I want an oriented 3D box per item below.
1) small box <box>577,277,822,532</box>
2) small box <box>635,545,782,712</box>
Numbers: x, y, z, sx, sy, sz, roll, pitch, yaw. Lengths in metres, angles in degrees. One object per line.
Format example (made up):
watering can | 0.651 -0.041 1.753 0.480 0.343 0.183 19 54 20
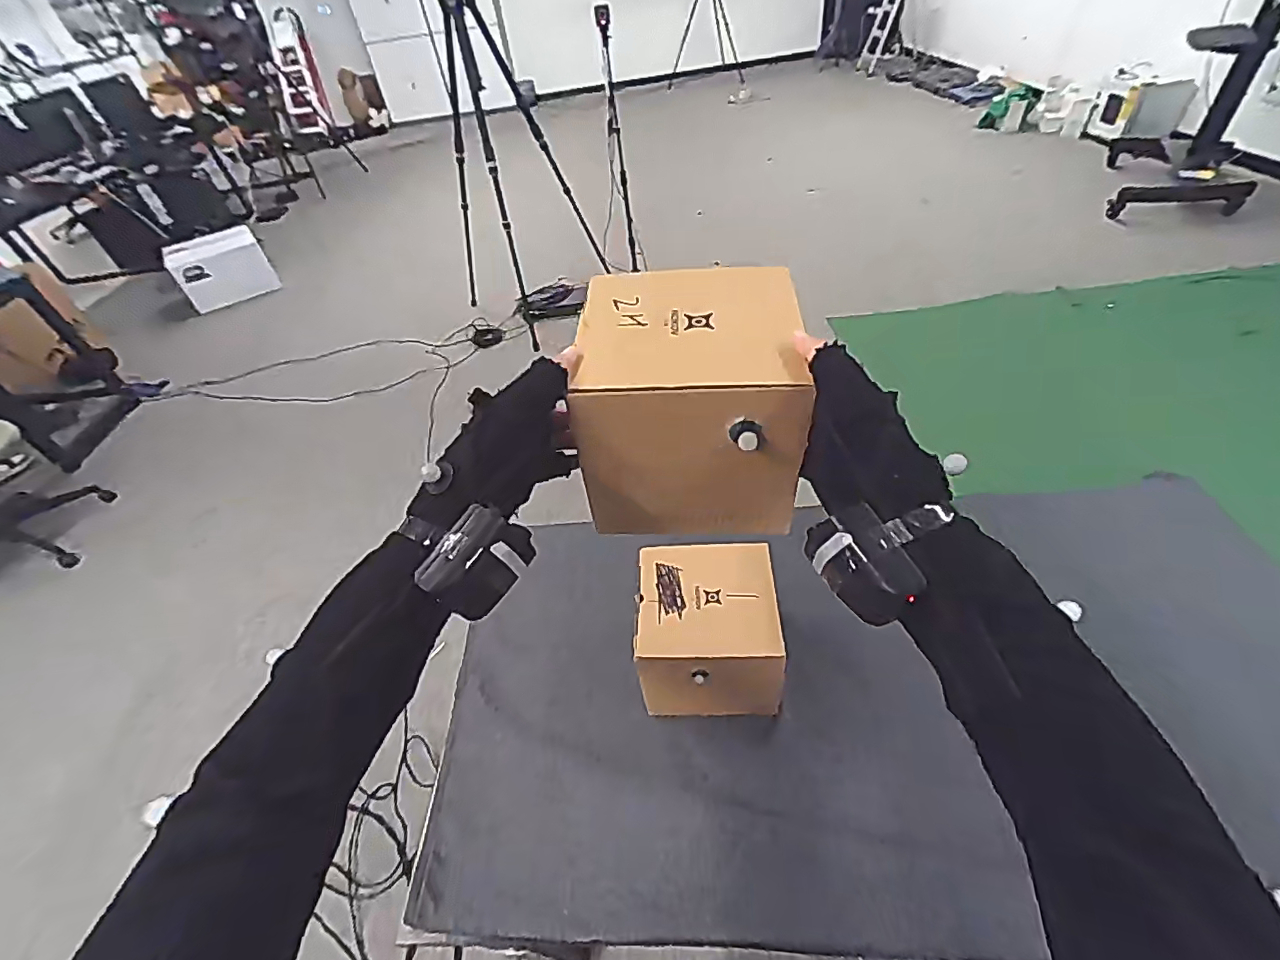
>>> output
small box | 0.051 -0.065 0.493 0.179 0.176 0.168 0 47 5
small box | 0.093 0.207 0.746 0.179 0.176 0.168 -2 44 5
